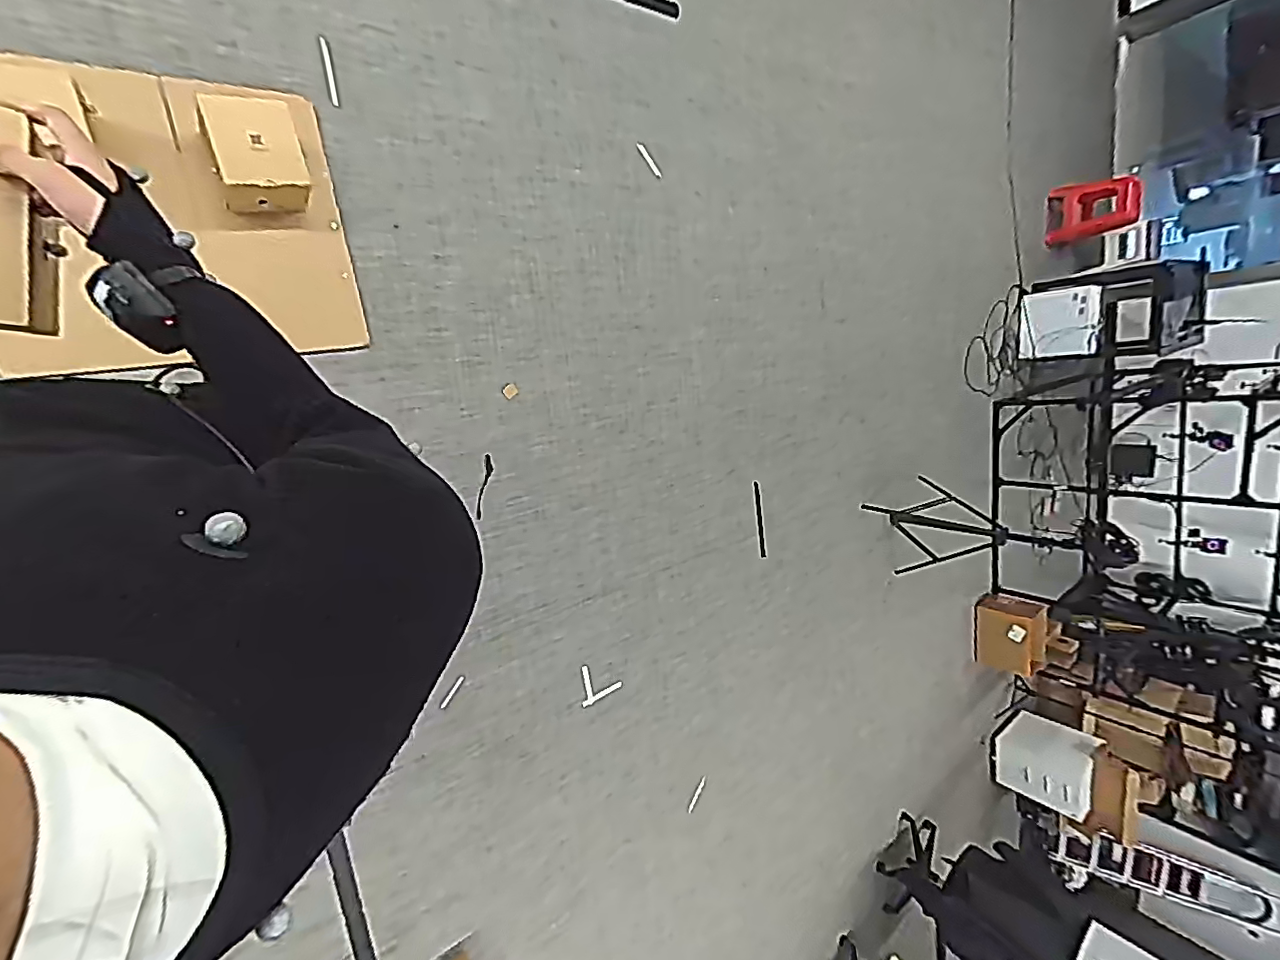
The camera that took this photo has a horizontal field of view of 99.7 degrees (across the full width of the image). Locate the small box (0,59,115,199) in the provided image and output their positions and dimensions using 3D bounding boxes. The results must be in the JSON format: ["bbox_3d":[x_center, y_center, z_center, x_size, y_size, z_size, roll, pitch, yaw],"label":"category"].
[{"bbox_3d":[-1.142,-0.655,1.022,0.168,0.176,0.179,-17,105,-33],"label":"small box"}]

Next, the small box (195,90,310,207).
[{"bbox_3d":[-0.870,-0.735,1.218,0.168,0.176,0.179,-21,107,-33],"label":"small box"}]

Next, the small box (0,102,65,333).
[{"bbox_3d":[-0.623,-0.232,0.461,0.168,0.176,0.179,2,98,-41],"label":"small box"}]
